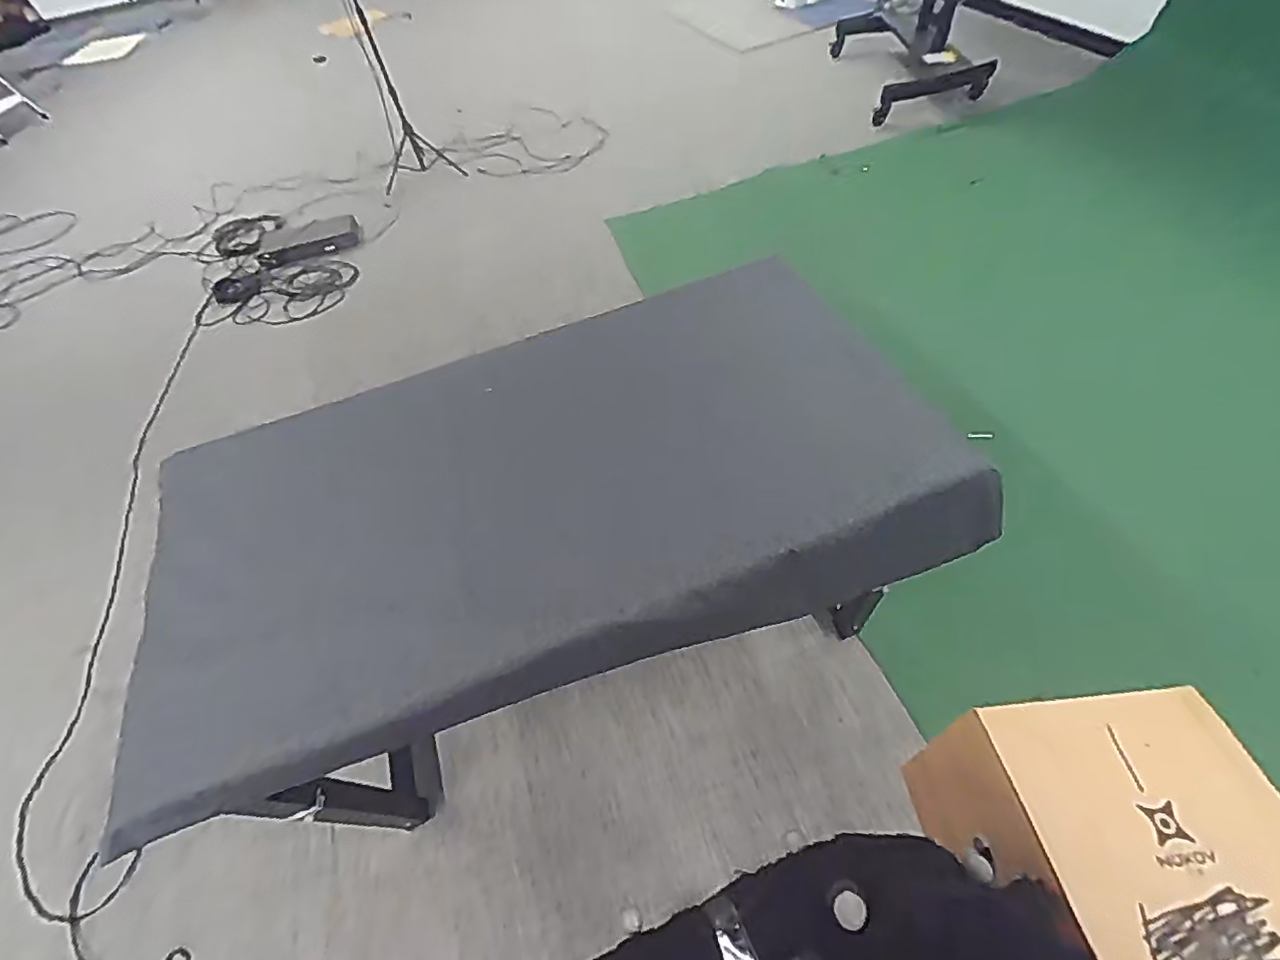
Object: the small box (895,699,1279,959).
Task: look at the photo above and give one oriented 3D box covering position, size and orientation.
[{"bbox_3d":[0.321,0.284,0.401,0.168,0.176,0.179,-4,48,-2],"label":"small box"}]
